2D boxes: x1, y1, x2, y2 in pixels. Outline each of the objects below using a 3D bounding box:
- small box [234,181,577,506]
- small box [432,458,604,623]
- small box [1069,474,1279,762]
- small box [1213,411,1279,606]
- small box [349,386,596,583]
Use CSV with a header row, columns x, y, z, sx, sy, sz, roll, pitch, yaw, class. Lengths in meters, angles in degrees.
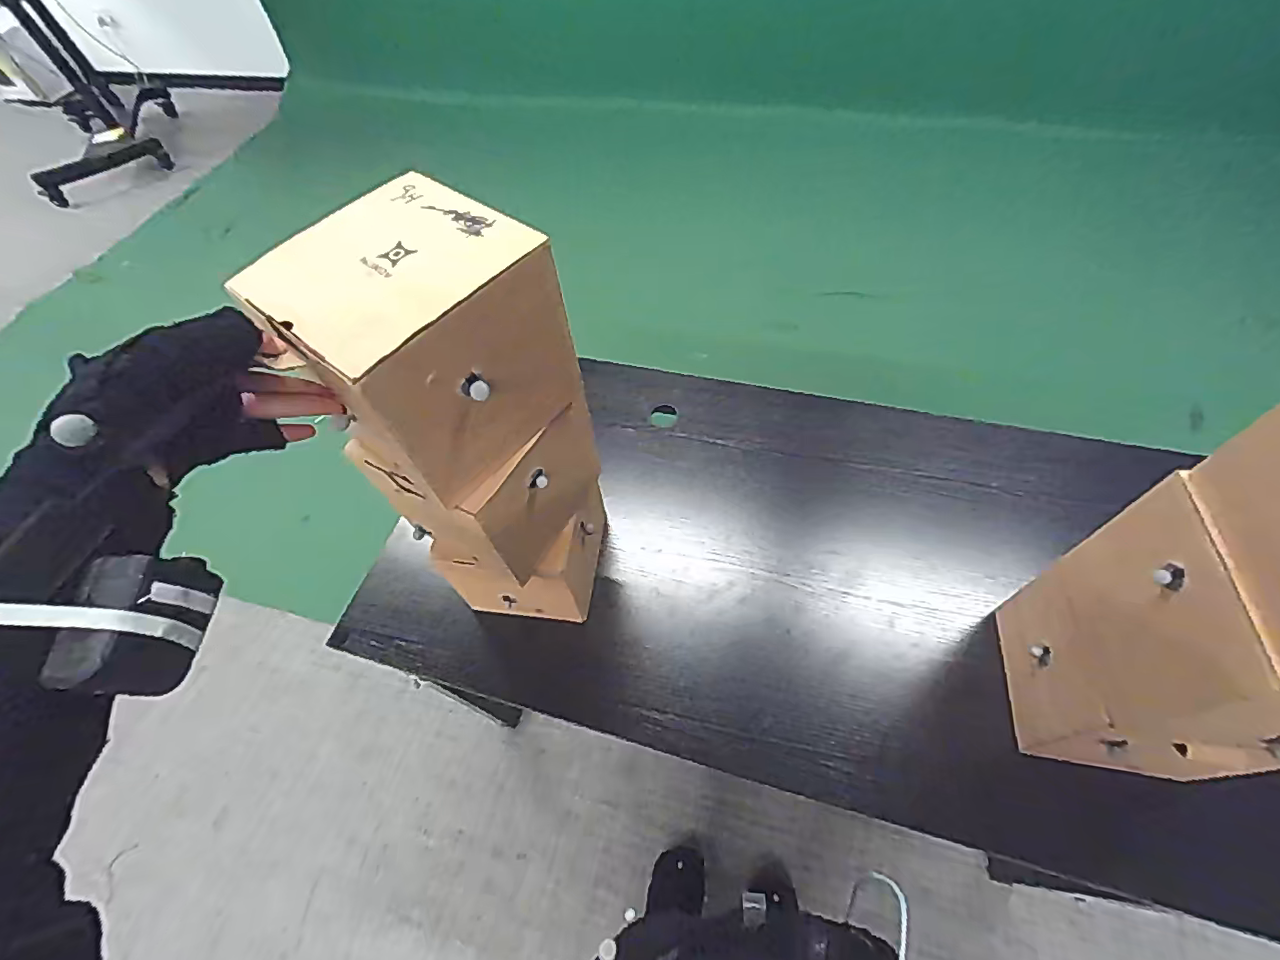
x,y,z,sx,sy,sz,roll,pitch,yaw,class
-0.174,-0.109,0.460,0.168,0.176,0.179,34,67,22,small box
-0.147,0.076,0.731,0.168,0.176,0.179,4,59,7,small box
0.505,0.118,0.446,0.168,0.176,0.179,4,57,9,small box
0.497,0.020,0.295,0.168,0.176,0.179,5,57,8,small box
-0.162,-0.014,0.594,0.168,0.176,0.179,23,62,18,small box
